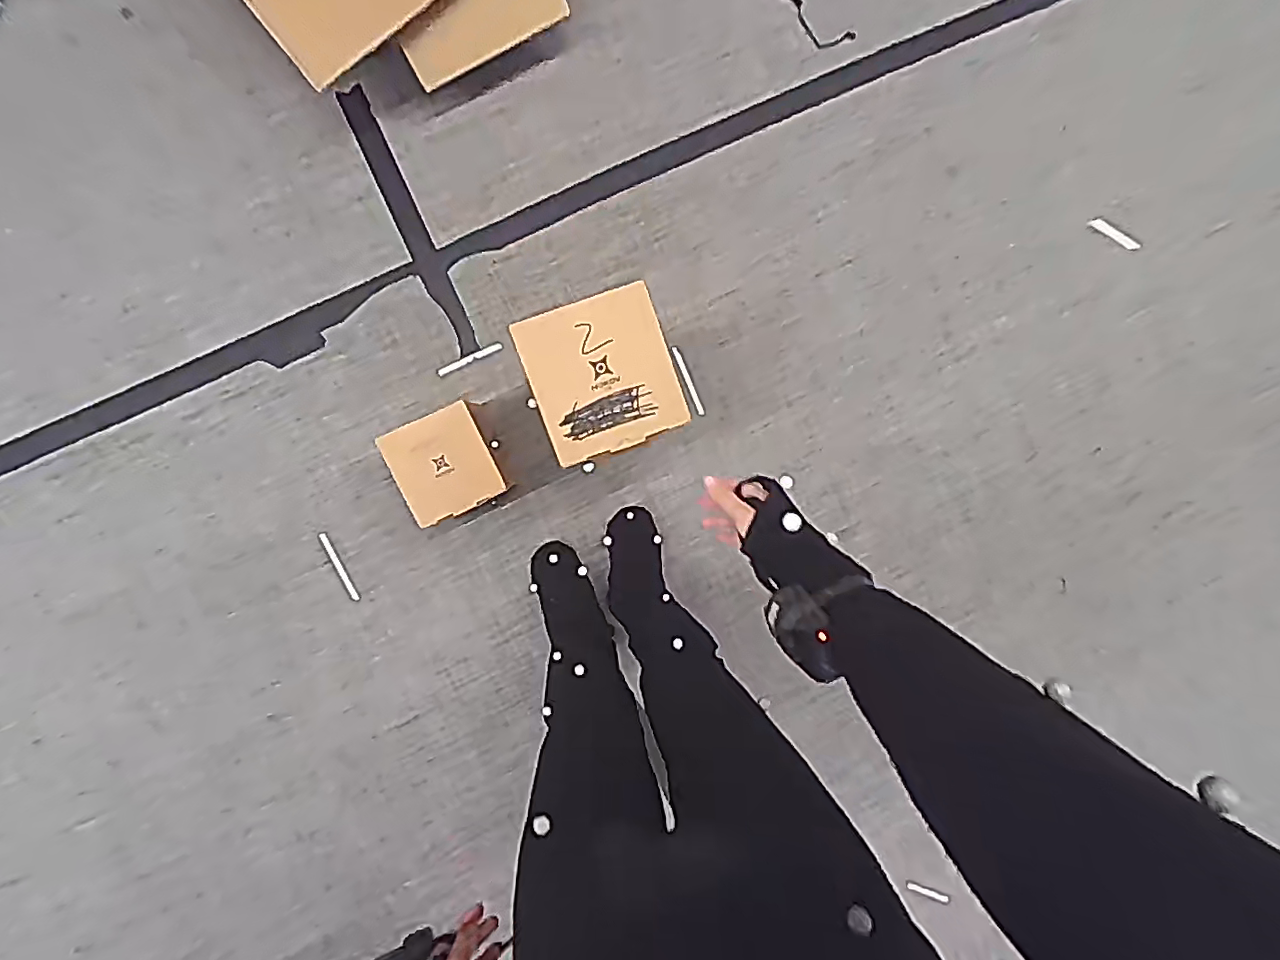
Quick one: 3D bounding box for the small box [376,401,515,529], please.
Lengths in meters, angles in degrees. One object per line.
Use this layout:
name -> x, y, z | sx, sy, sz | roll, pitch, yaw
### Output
small box -> -0.345, -0.032, 1.003 | 0.168, 0.176, 0.179 | -26, 97, -5

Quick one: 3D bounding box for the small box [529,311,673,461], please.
small box -> -0.061, -0.143, 0.858 | 0.168, 0.176, 0.179 | -21, 97, -5
